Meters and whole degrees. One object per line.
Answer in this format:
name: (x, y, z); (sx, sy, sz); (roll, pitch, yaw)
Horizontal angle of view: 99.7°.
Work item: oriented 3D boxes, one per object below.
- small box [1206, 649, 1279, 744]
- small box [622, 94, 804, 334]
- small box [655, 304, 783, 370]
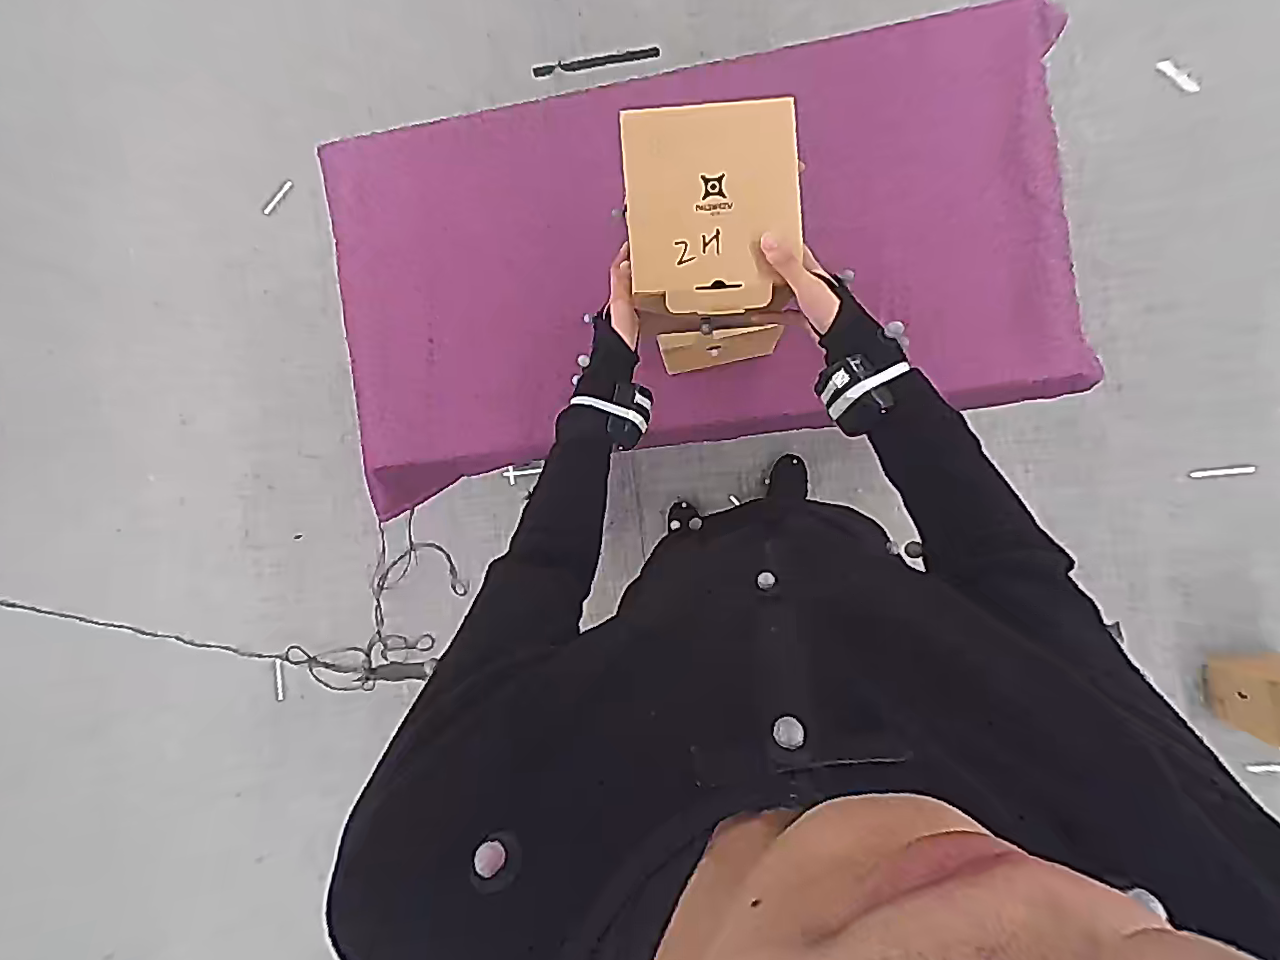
small box: (1.604, 0.543, 1.373); (0.179, 0.176, 0.168); (-11, 89, 6)
small box: (0.068, -0.270, 0.584); (0.168, 0.176, 0.179); (-4, 92, 1)
small box: (0.106, -0.276, 0.821); (0.179, 0.176, 0.168); (-11, 89, 6)
